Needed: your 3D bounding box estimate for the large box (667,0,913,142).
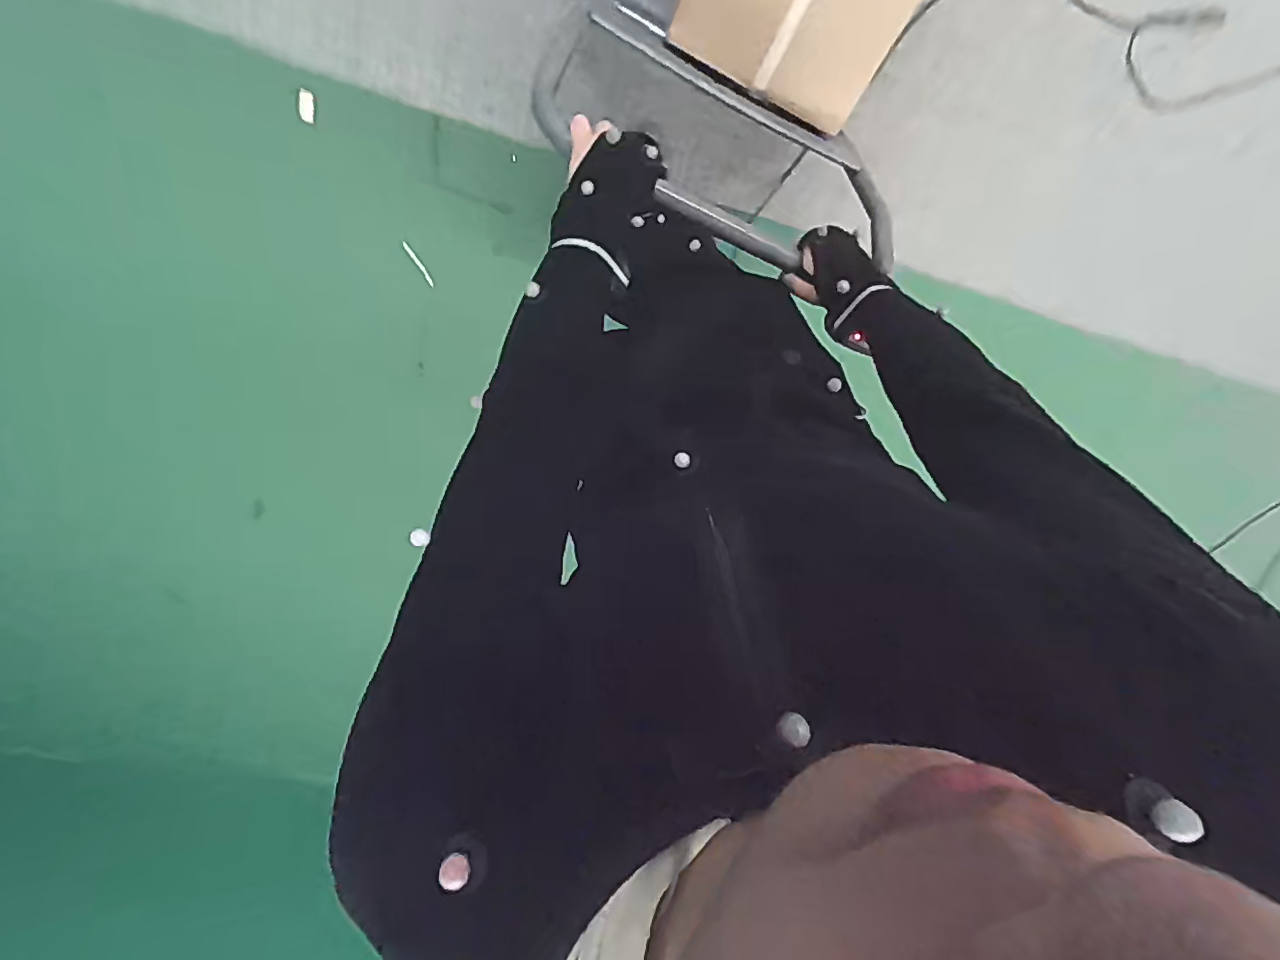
[{"bbox_3d":[0.263,-0.844,0.853,0.320,0.320,0.408,19,132,-16],"label":"large box"}]
